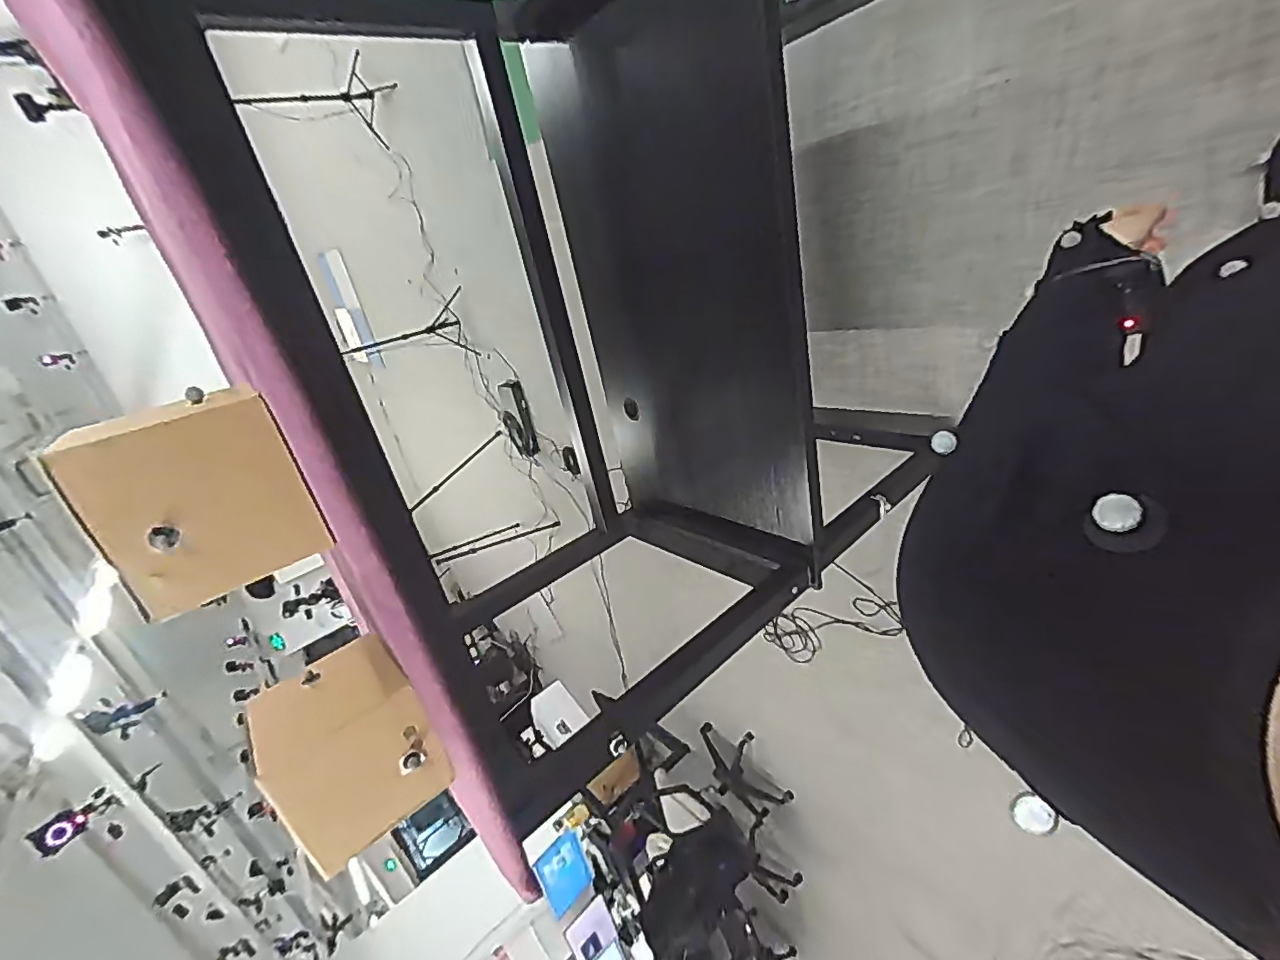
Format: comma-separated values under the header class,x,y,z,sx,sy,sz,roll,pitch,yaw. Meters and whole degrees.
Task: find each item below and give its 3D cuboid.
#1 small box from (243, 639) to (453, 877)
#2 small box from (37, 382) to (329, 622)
class,x,y,z,sx,sy,sz,roll,pitch,yaw
small box,-0.363,0.329,0.683,0.179,0.176,0.168,10,123,50
small box,-0.459,0.010,0.575,0.168,0.176,0.179,18,127,49
